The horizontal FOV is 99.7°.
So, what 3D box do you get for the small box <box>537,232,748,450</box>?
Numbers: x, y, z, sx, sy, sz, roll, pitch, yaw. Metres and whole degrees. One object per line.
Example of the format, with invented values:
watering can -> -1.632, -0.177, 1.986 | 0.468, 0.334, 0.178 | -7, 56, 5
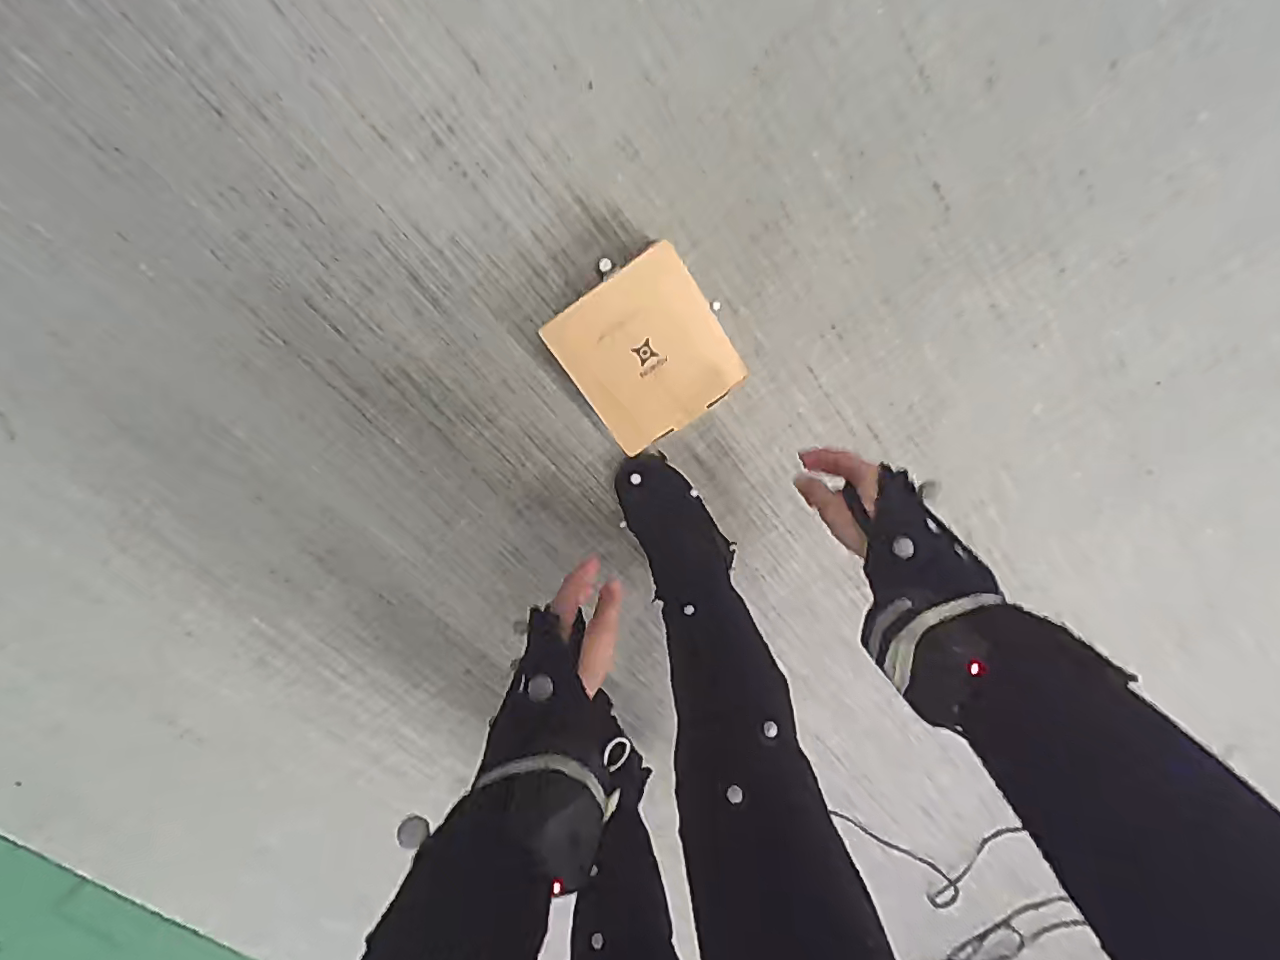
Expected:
small box -> 0.002, -0.170, 0.647 | 0.168, 0.176, 0.179 | -33, 110, 9
